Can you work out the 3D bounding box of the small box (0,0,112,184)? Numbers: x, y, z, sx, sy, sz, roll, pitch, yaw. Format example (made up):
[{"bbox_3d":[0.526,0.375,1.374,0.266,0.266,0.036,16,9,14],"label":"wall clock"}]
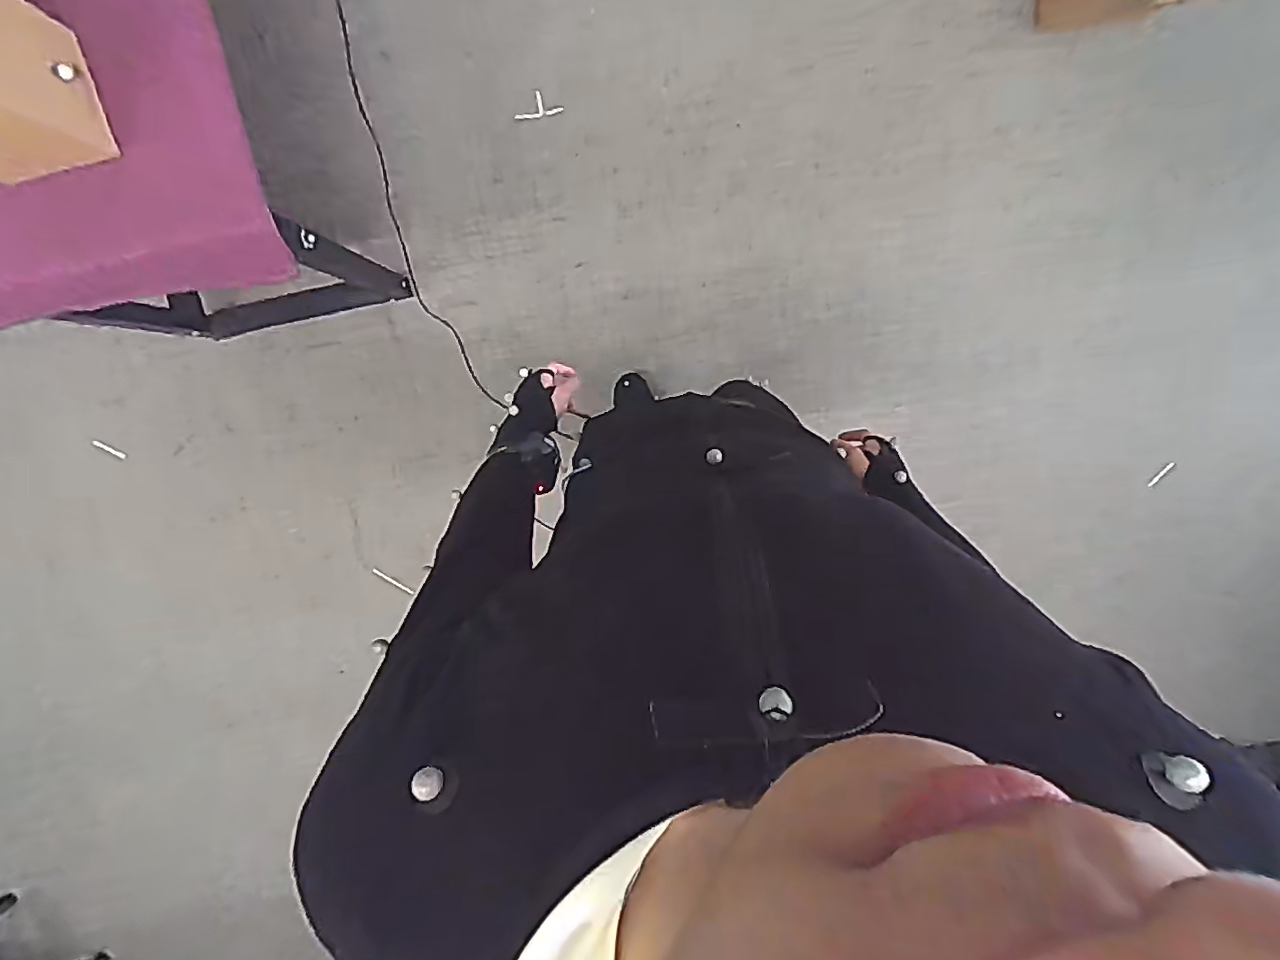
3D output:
[{"bbox_3d":[-0.849,-0.501,0.683,0.179,0.176,0.168,-13,100,0],"label":"small box"}]
